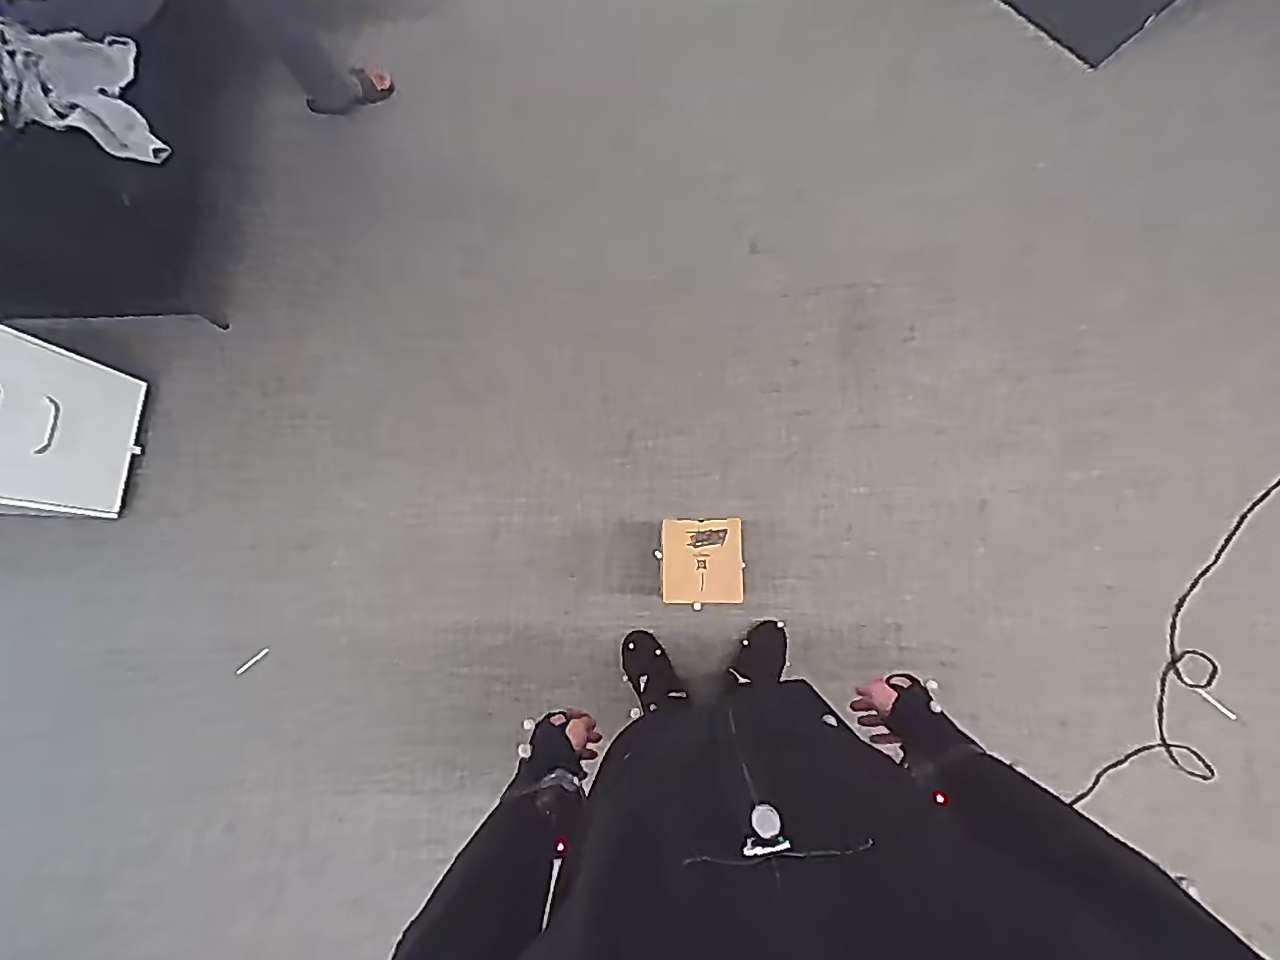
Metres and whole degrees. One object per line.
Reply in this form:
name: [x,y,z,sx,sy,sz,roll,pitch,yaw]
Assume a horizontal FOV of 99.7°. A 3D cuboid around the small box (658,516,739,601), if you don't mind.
small box: [0.124,0.178,1.199,0.168,0.176,0.179,-1,79,3]
